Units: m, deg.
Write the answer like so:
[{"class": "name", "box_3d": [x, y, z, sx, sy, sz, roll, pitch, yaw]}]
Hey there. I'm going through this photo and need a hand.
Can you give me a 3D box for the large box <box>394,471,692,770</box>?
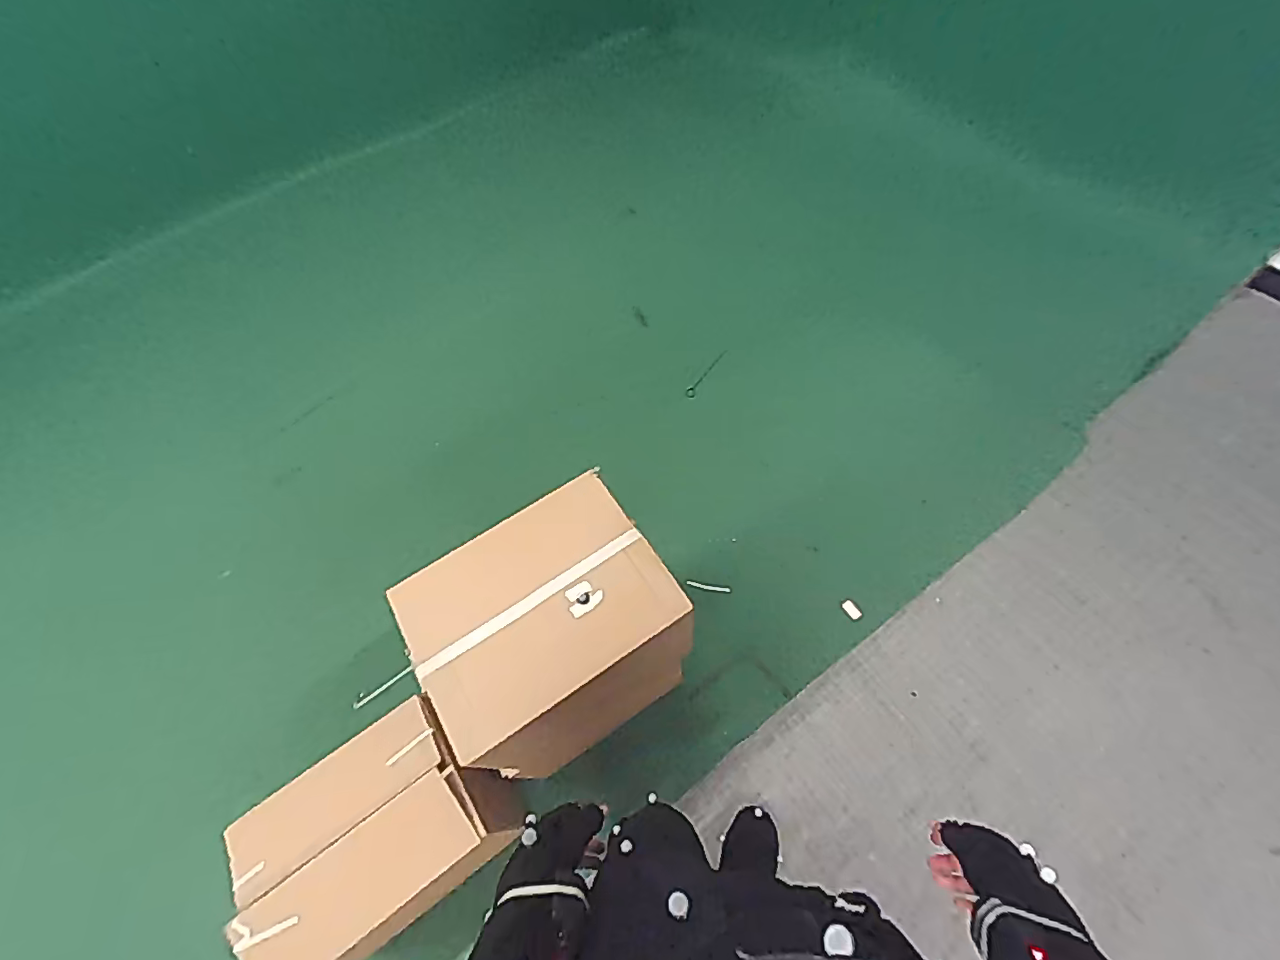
[{"class": "large box", "box_3d": [-0.153, 0.265, 0.994, 0.408, 0.320, 0.320, -31, 63, -13]}]
